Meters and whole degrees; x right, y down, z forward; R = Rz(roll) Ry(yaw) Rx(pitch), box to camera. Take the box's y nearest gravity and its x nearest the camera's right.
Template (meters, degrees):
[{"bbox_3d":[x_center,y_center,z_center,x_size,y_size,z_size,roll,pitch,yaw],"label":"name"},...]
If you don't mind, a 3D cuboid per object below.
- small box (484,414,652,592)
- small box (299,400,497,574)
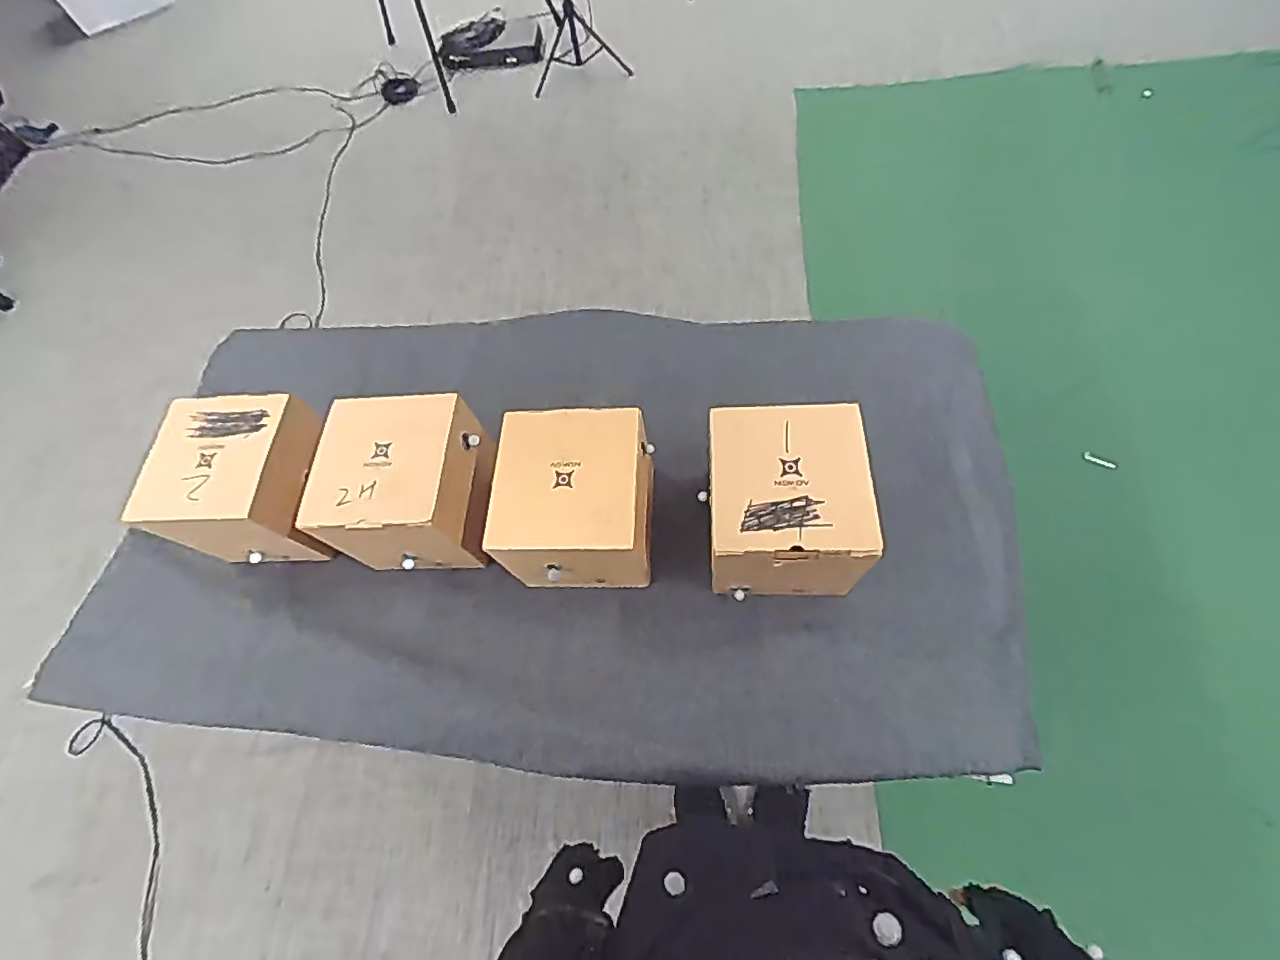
[{"bbox_3d":[-0.075,0.037,0.675,0.168,0.176,0.179,-1,63,7],"label":"small box"},{"bbox_3d":[-0.295,0.015,0.711,0.168,0.176,0.179,-2,64,6],"label":"small box"}]
